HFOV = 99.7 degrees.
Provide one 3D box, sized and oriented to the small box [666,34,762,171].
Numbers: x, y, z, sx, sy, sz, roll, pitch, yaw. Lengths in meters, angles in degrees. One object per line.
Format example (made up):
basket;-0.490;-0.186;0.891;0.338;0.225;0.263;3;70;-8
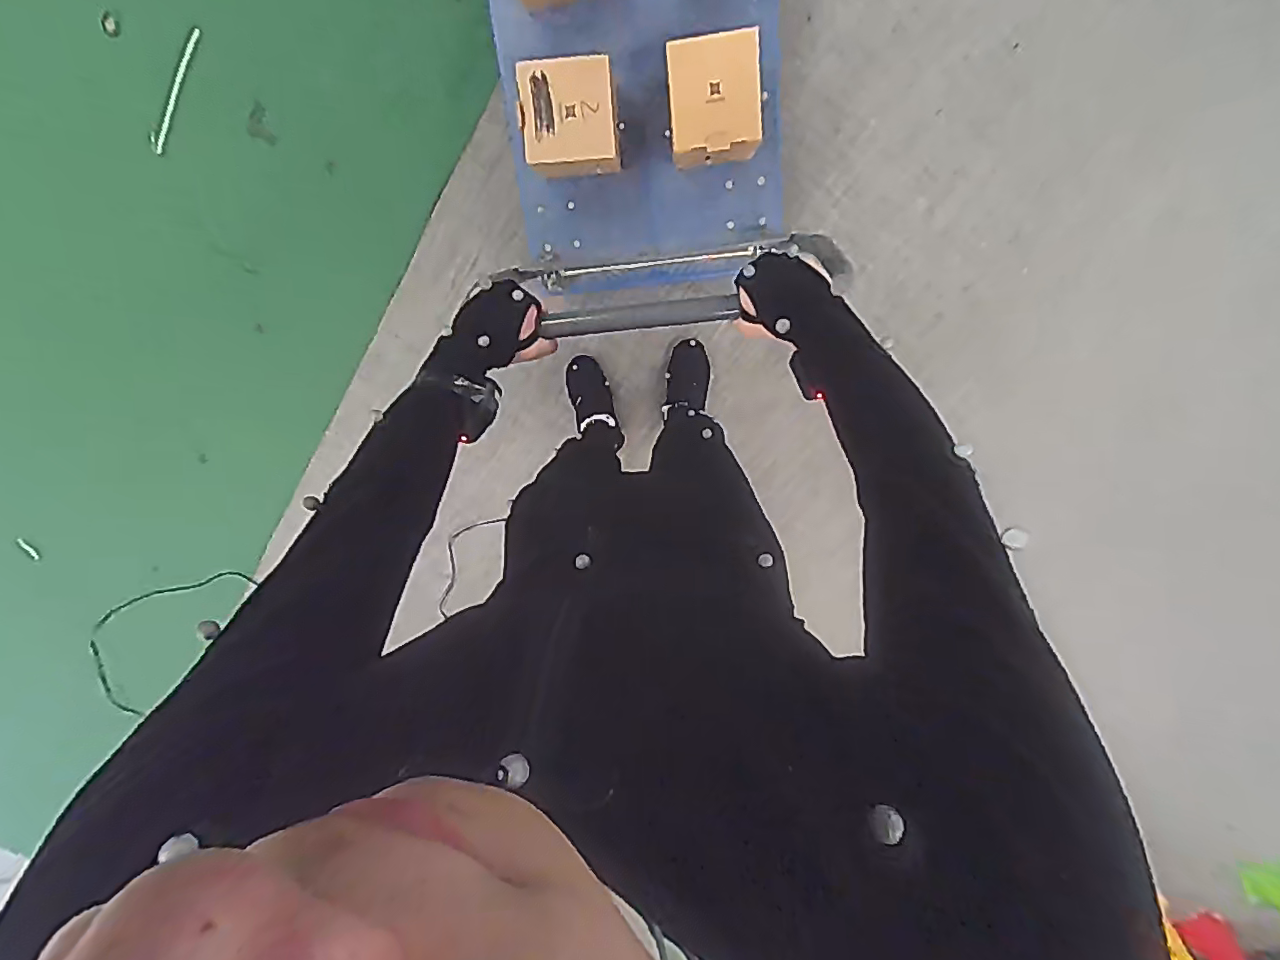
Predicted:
small box;0.141;-0.727;1.061;0.168;0.176;0.179;-5;112;5

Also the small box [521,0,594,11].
small box;-0.164;-0.987;0.971;0.168;0.176;0.179;-9;111;5
